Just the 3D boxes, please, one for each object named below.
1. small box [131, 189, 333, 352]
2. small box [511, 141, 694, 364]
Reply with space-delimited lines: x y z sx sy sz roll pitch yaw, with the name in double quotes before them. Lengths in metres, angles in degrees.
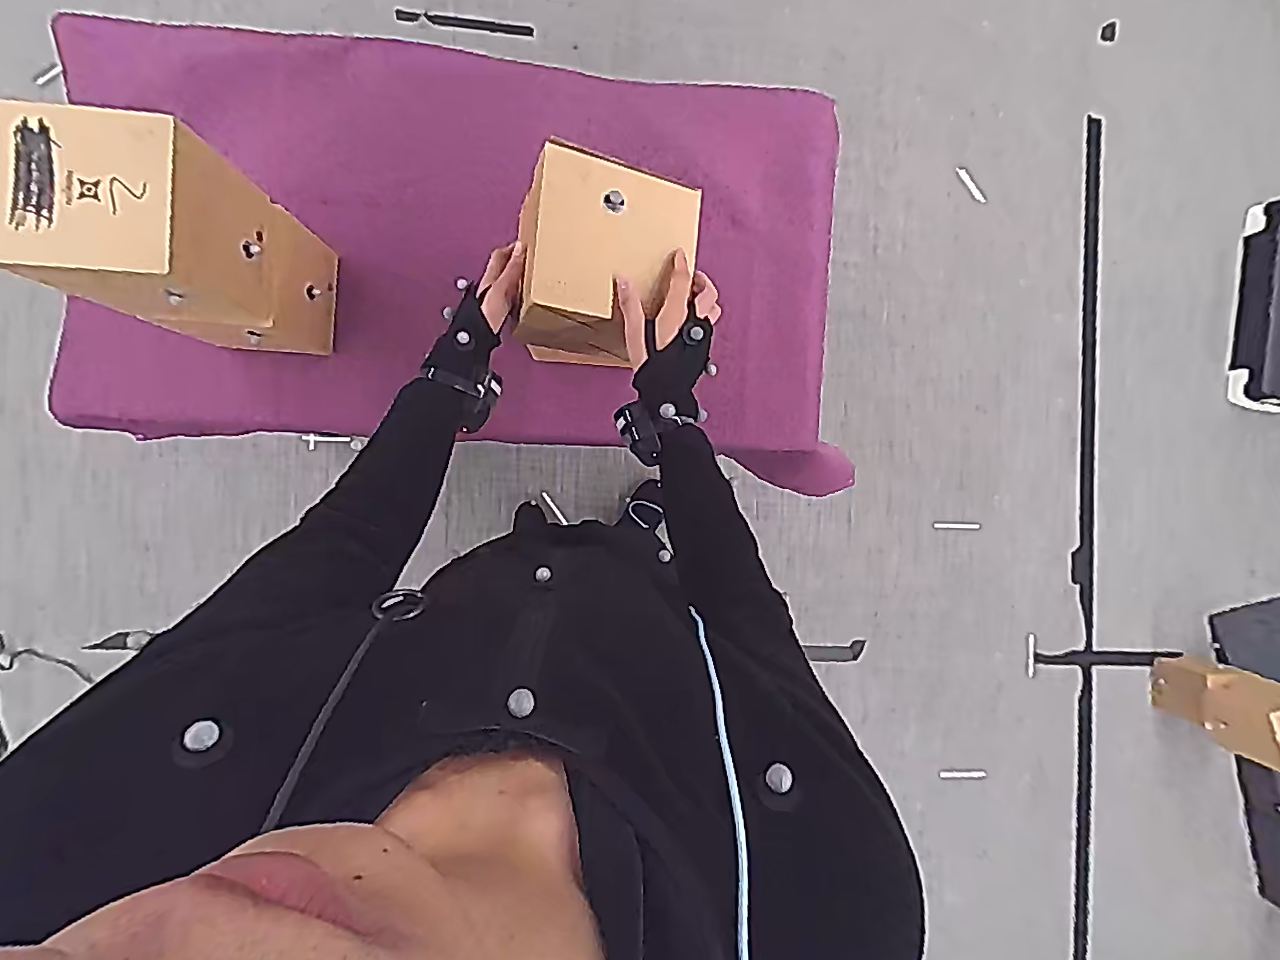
"small box" -0.573 -0.289 0.784 0.179 0.176 0.168 4 90 -5
"small box" -0.053 -0.246 0.637 0.179 0.168 0.176 6 88 -21
